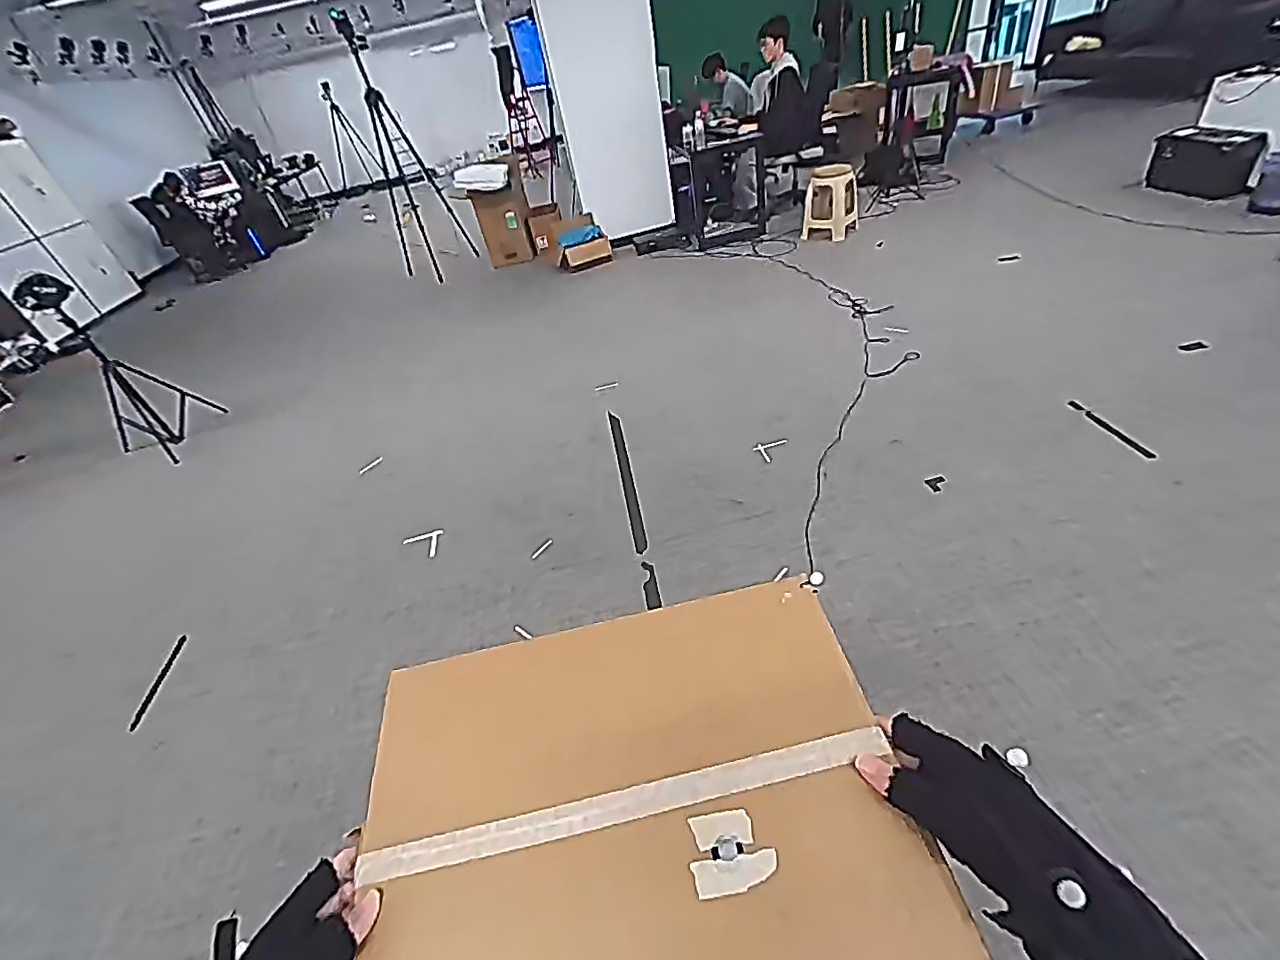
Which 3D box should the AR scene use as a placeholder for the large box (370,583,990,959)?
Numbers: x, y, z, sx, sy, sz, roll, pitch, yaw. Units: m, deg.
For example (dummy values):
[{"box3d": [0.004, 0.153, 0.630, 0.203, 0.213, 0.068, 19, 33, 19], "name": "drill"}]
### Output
[{"box3d": [0.016, 0.354, 0.522, 0.408, 0.320, 0.320, -13, 46, -2], "name": "large box"}]
